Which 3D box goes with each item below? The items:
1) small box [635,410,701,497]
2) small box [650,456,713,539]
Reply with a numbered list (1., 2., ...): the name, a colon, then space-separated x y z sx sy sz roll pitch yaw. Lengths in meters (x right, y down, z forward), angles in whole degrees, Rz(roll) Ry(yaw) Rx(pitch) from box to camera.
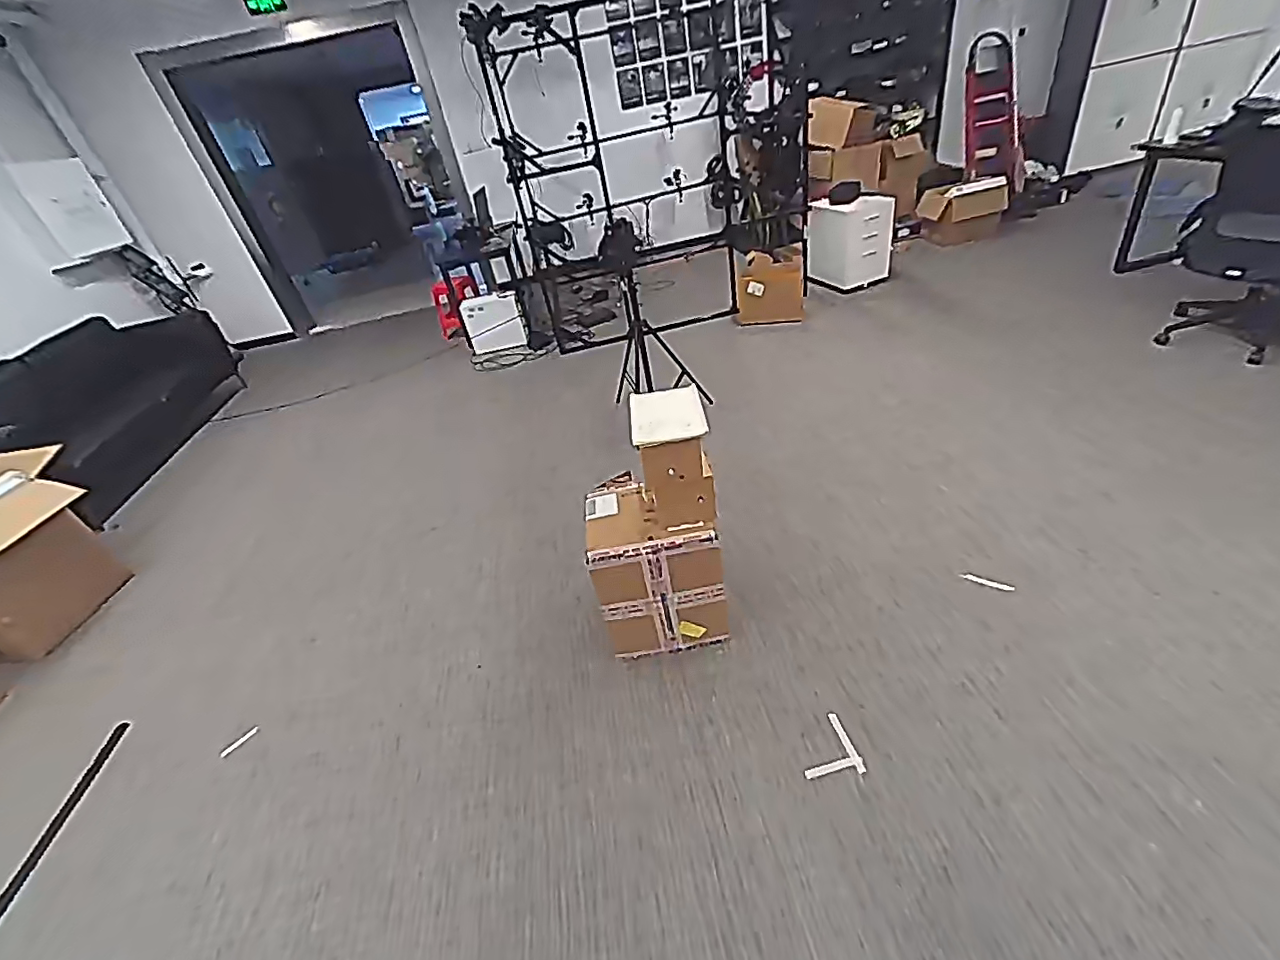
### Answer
1. small box: 0.077 -0.074 1.514 0.168 0.176 0.179 -7 37 2
2. small box: 0.118 0.052 1.613 0.179 0.176 0.168 -11 36 0
